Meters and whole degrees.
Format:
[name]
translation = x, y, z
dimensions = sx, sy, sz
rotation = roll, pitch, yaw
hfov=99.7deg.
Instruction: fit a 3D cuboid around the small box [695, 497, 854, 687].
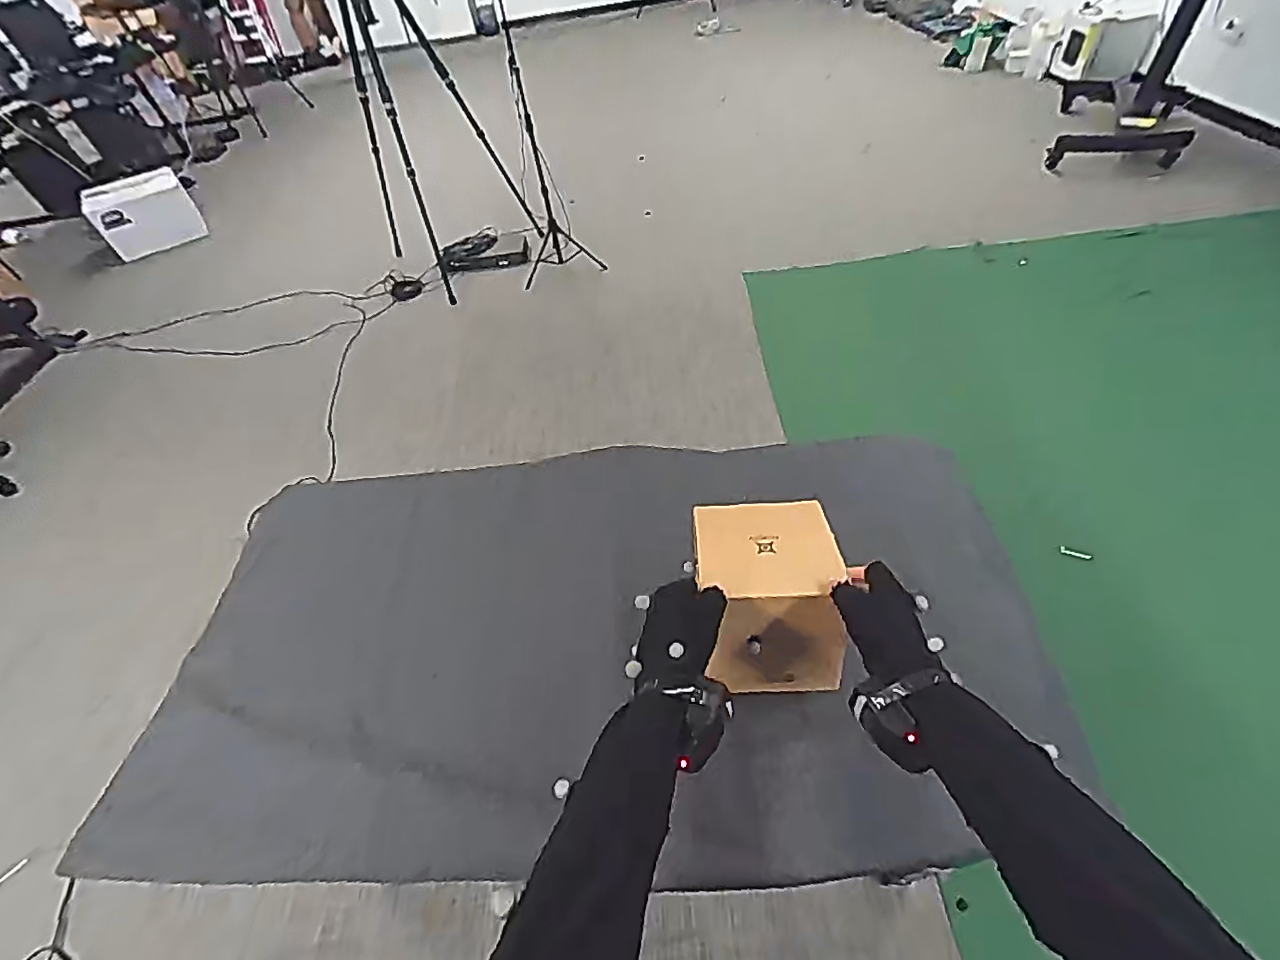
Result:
[small box]
translation = 0.157, 0.142, 0.682
dimensions = 0.168, 0.176, 0.179
rotation = -3, 30, 4
